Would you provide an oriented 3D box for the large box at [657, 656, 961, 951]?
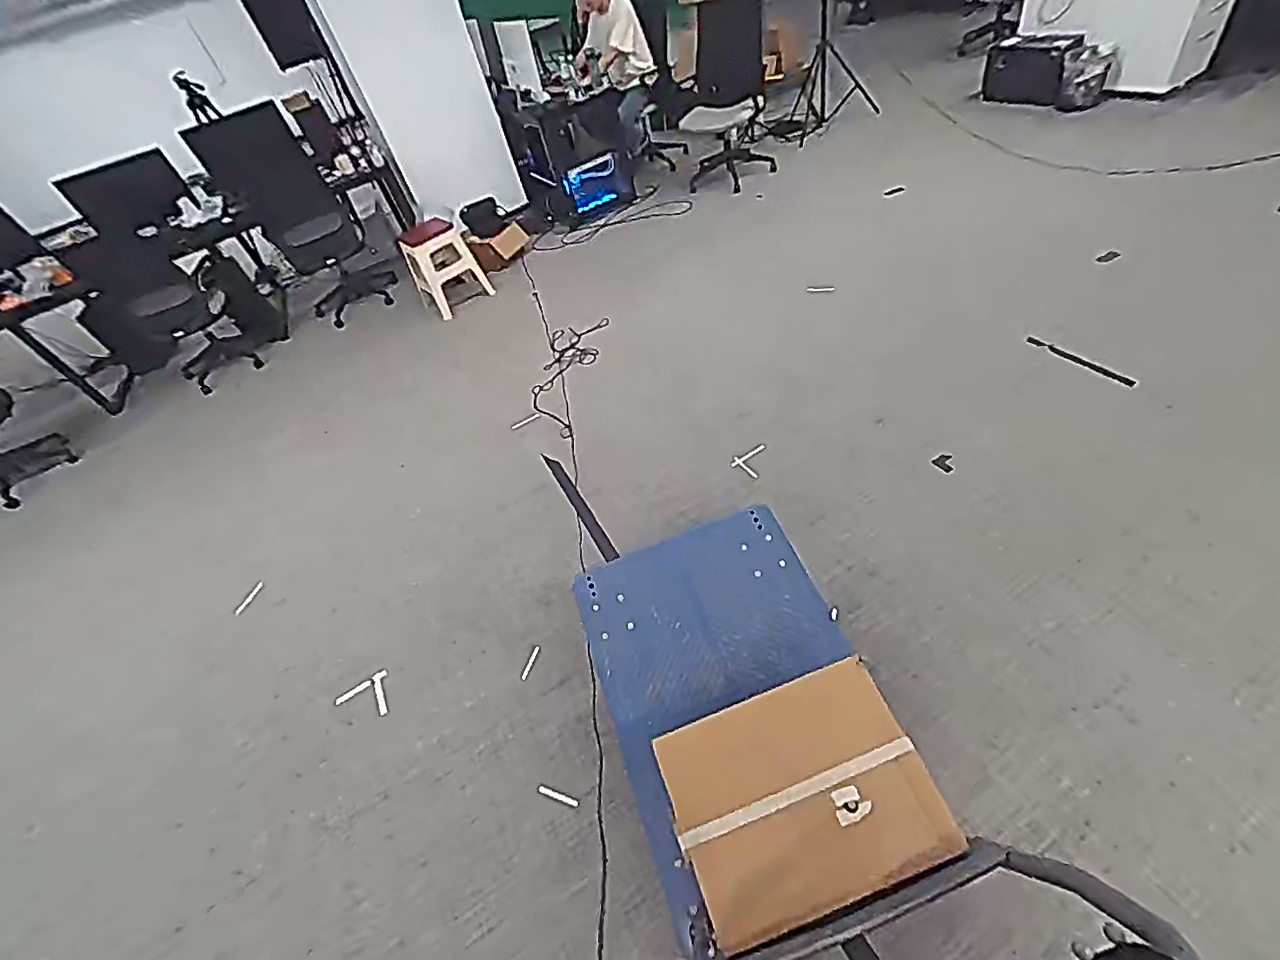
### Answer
[{"bbox_3d":[0.284,0.591,1.022,0.408,0.320,0.320,-22,58,-4],"label":"large box"}]
